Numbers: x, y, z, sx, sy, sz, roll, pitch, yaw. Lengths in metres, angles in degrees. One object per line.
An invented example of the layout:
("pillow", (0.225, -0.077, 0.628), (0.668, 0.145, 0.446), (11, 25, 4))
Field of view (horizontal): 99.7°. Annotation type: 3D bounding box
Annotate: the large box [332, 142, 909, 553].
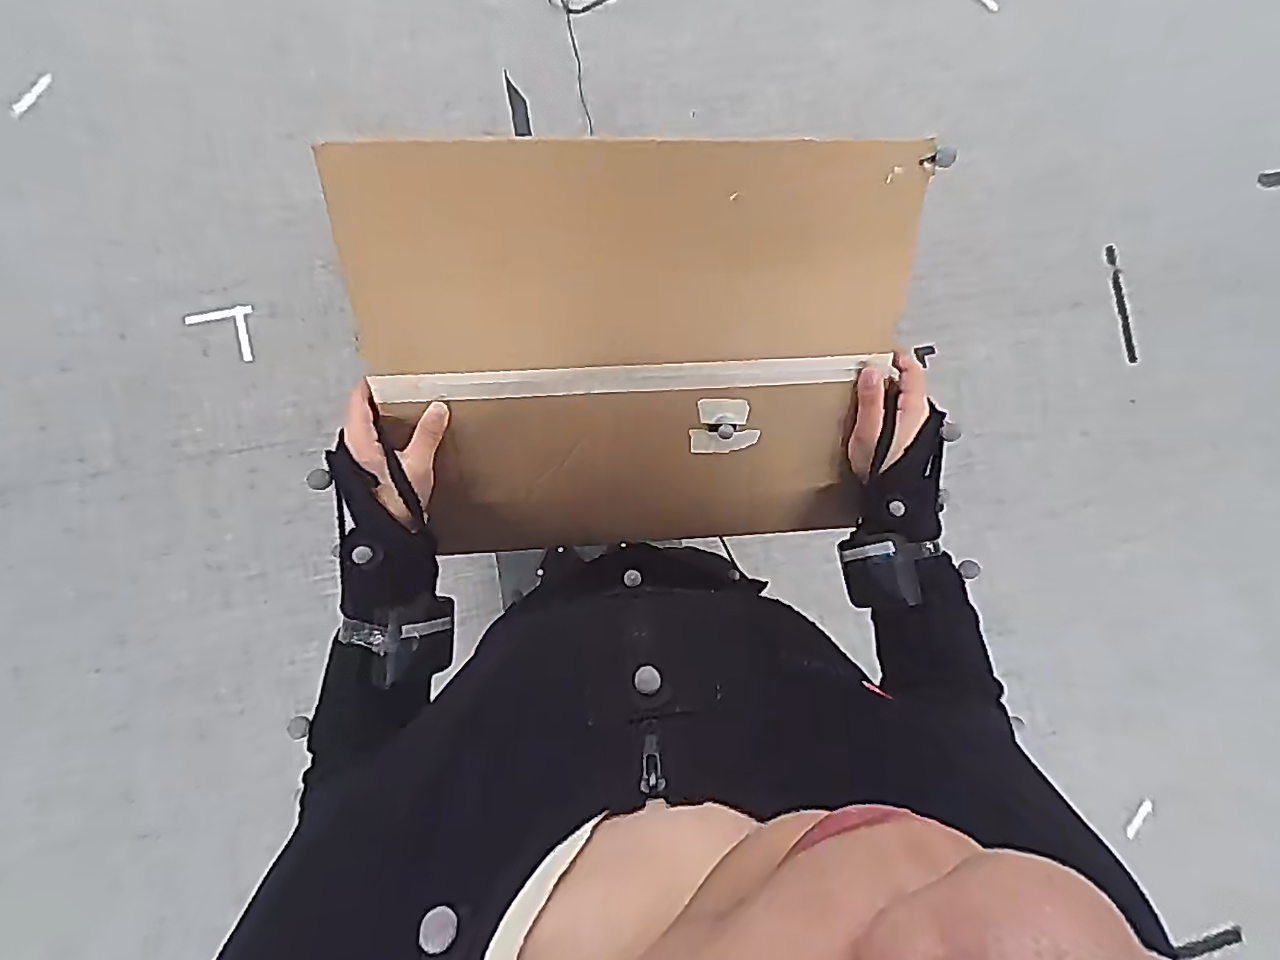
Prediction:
("large box", (-0.019, -0.155, 0.565), (0.408, 0.320, 0.320), (-5, 119, -6))
